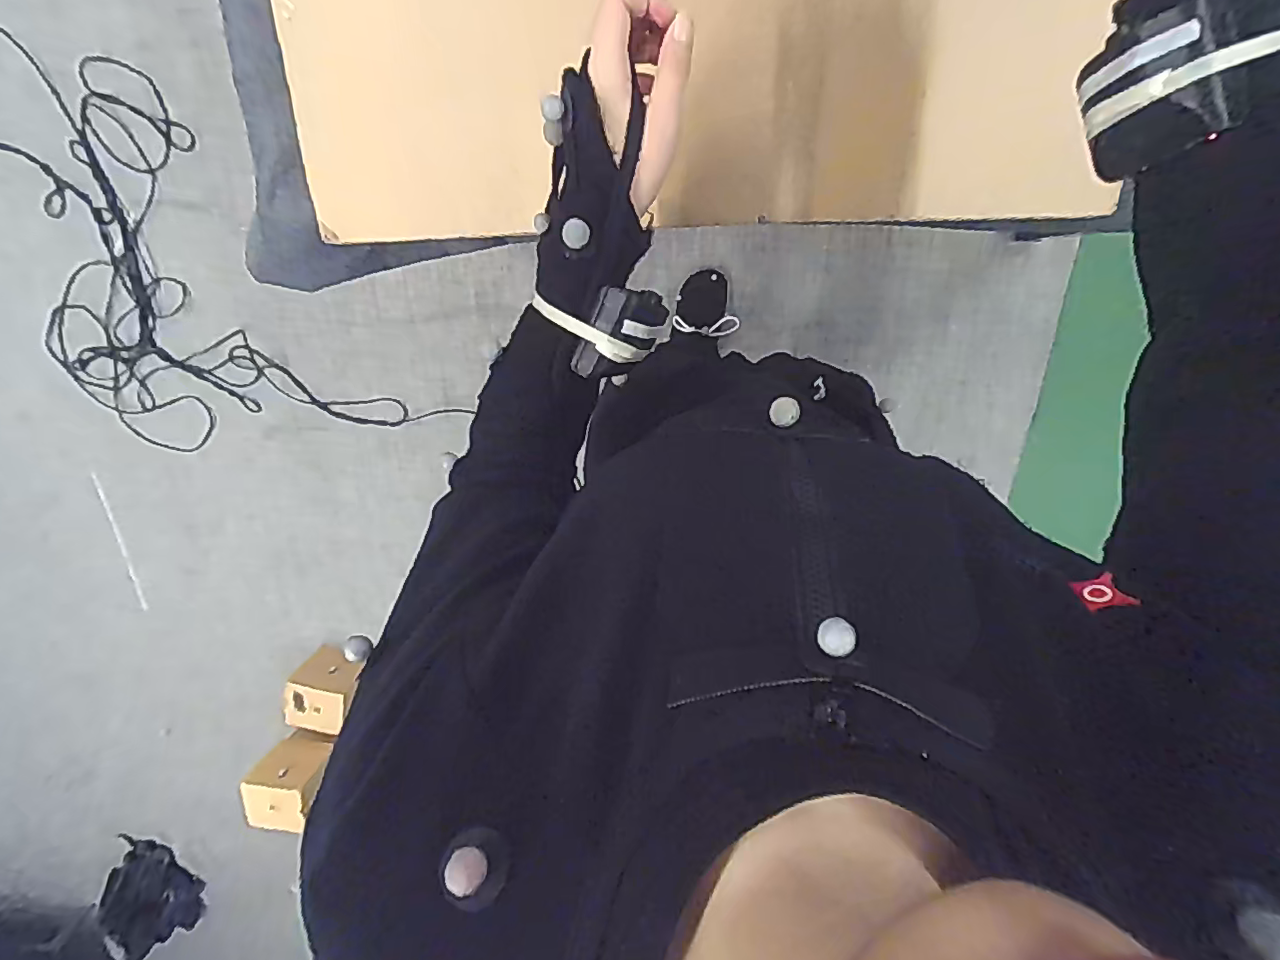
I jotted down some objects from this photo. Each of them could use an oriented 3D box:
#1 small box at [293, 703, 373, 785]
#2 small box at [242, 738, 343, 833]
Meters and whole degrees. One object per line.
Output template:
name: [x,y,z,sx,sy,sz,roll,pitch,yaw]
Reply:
small box: [-0.982,0.843,1.738,0.179,0.176,0.168,5,111,3]
small box: [-1.009,0.886,1.582,0.179,0.176,0.168,5,110,3]
